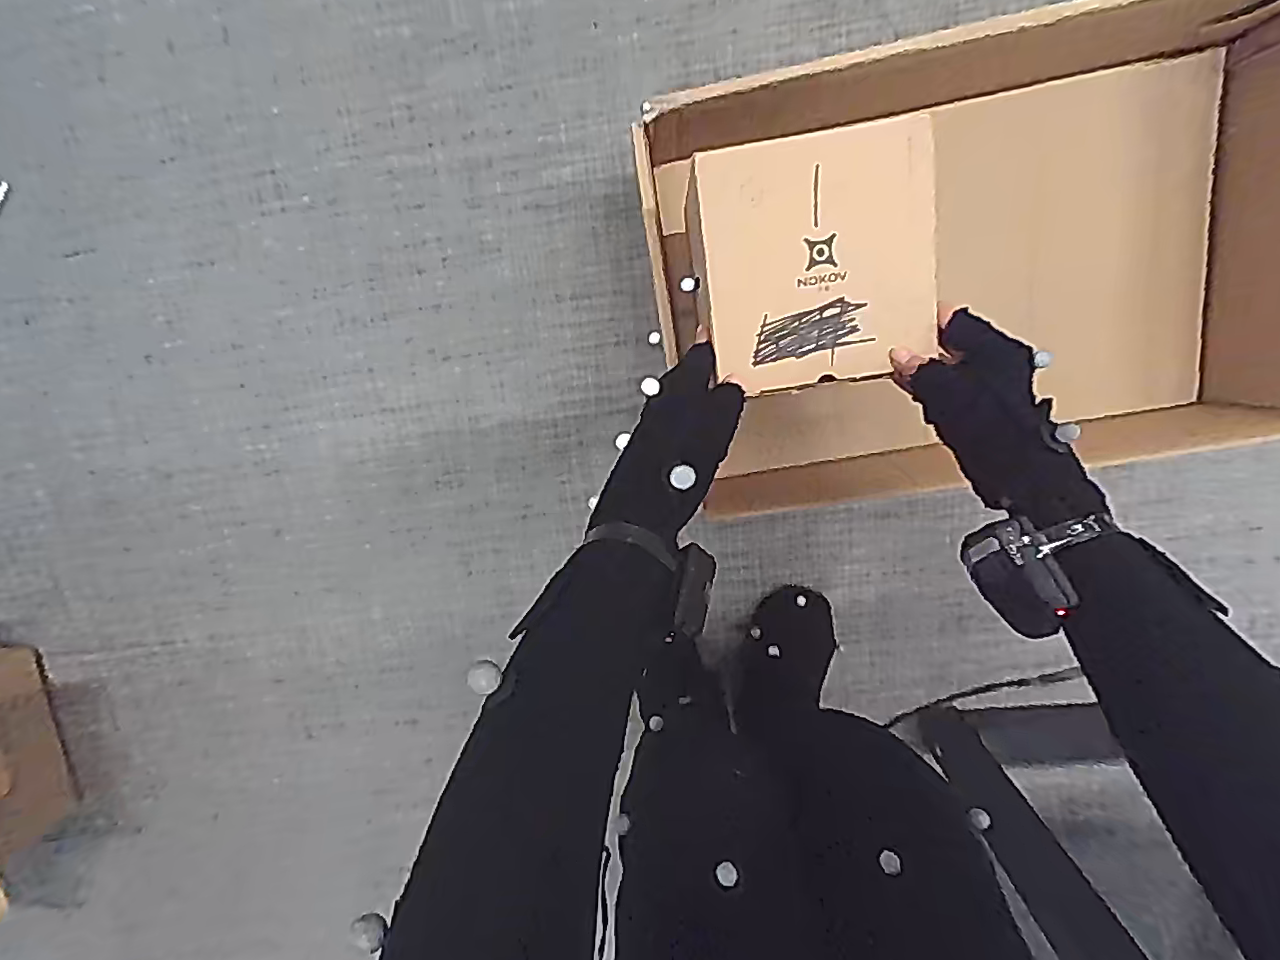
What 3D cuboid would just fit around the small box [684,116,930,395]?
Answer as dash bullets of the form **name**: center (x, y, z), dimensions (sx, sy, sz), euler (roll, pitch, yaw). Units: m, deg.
- **small box**: center (0.131, -0.177, 0.474), dimensions (0.168, 0.176, 0.179), euler (-7, 102, 3)
